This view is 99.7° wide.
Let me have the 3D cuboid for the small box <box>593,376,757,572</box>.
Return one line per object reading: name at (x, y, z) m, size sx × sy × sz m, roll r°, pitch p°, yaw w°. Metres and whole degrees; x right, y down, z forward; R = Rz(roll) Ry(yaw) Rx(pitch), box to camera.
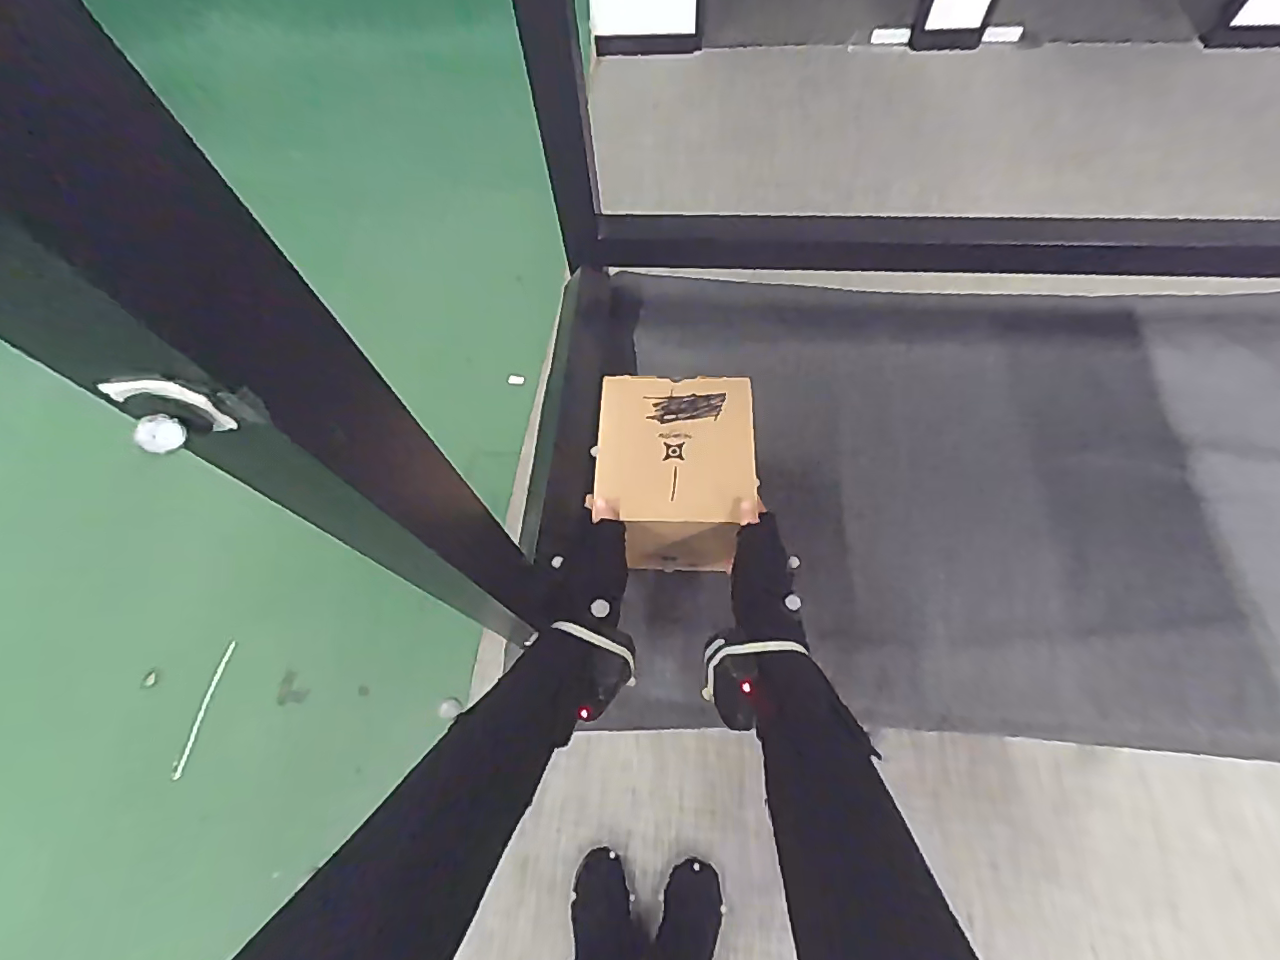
small box at (0.041, -0.002, 0.638) m, size 0.168 × 0.176 × 0.179 m, roll 1°, pitch 64°, yaw 4°
